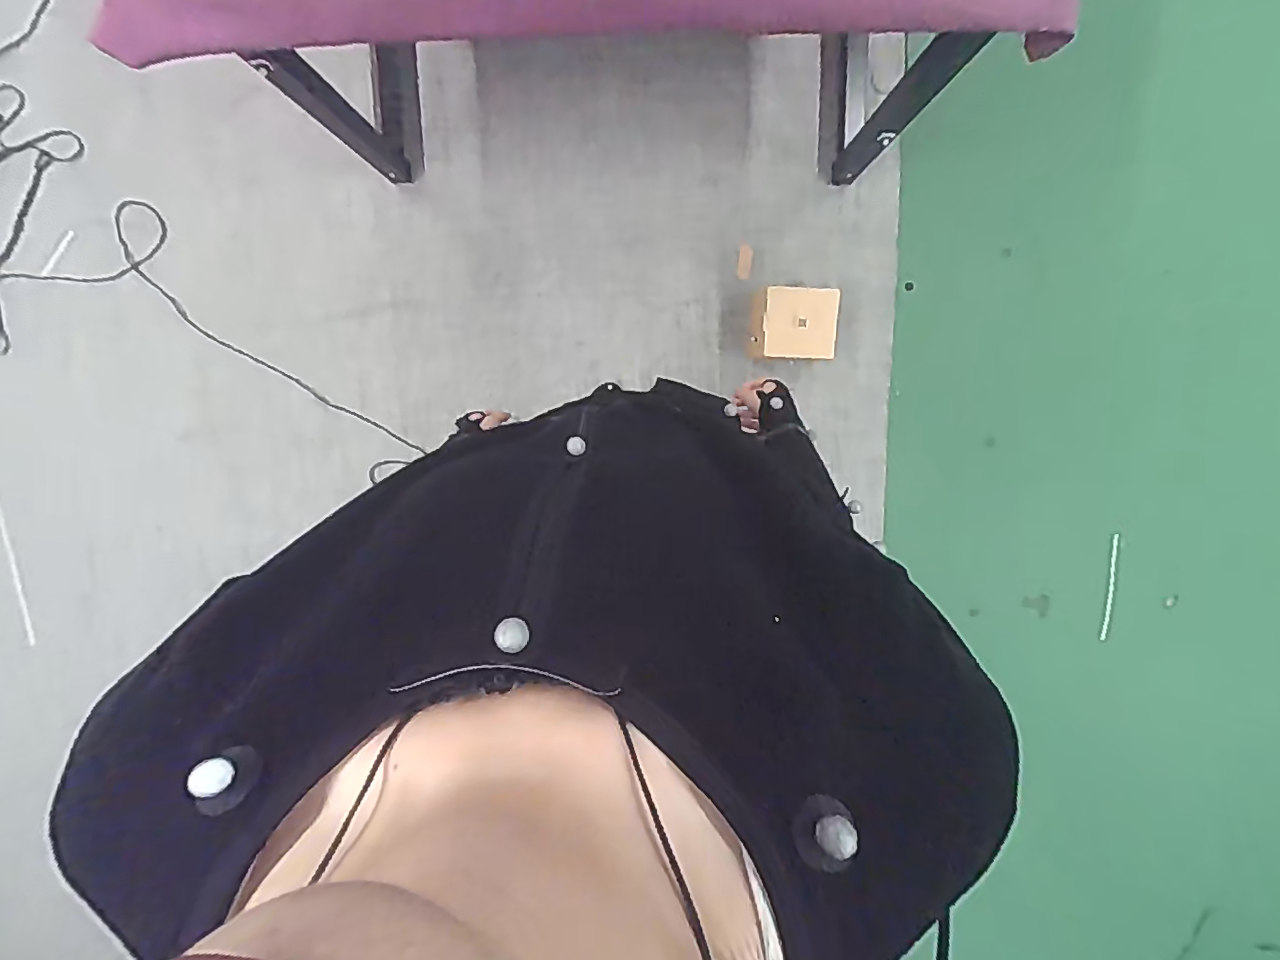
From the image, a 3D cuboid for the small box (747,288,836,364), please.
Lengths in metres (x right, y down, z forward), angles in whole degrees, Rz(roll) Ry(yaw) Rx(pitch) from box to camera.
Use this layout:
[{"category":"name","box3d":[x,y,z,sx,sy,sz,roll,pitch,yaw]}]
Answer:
[{"category":"small box","box3d":[0.376,-0.384,1.372,0.179,0.176,0.168,2,99,-1]}]
